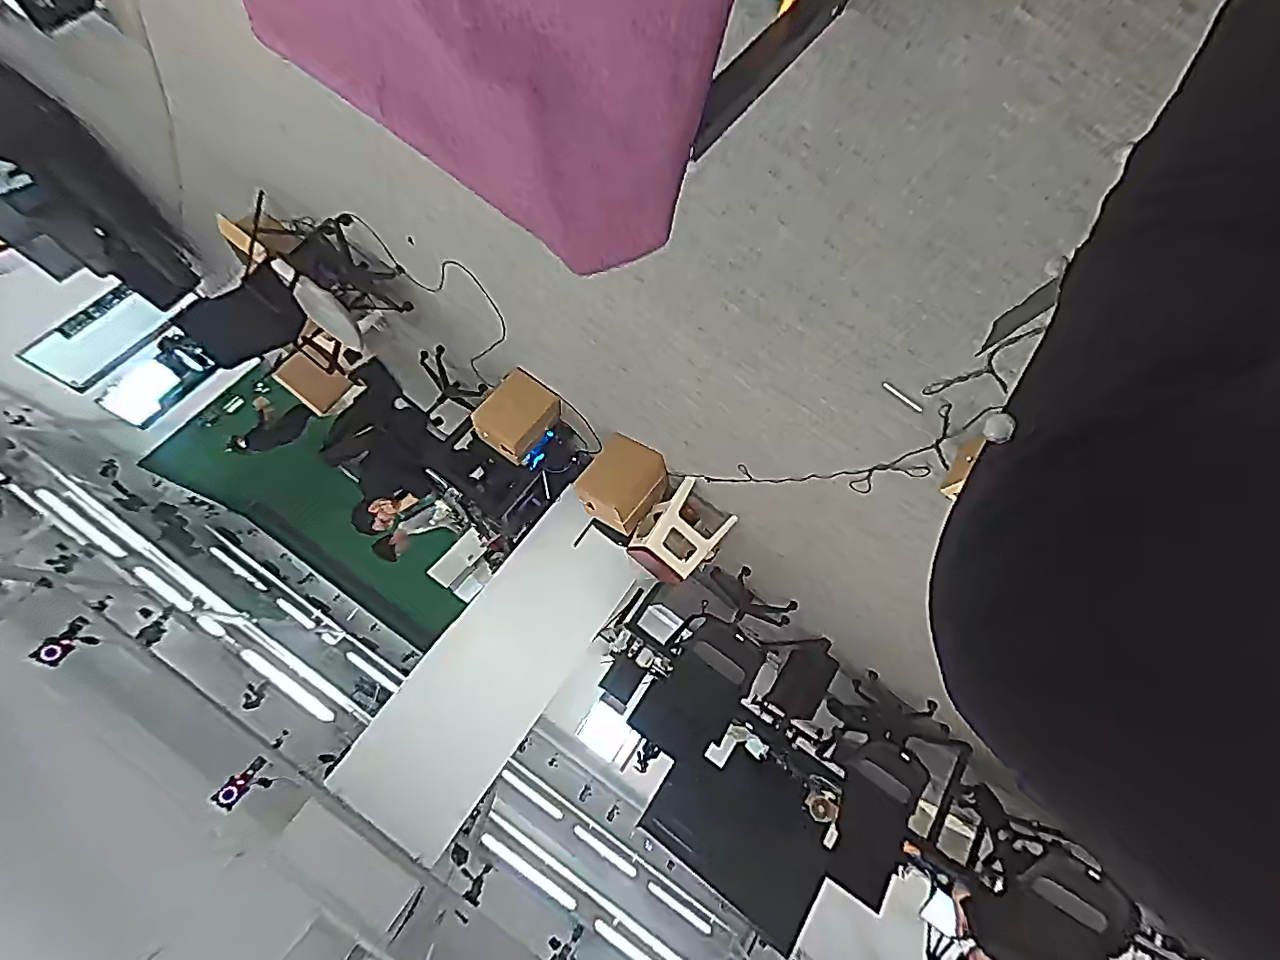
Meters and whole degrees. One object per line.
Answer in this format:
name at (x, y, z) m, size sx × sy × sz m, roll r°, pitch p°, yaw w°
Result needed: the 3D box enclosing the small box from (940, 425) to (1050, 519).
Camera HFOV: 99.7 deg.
small box at (0.996, -0.022, 1.516) m, size 0.168 × 0.176 × 0.179 m, roll 36°, pitch 159°, yaw 2°
